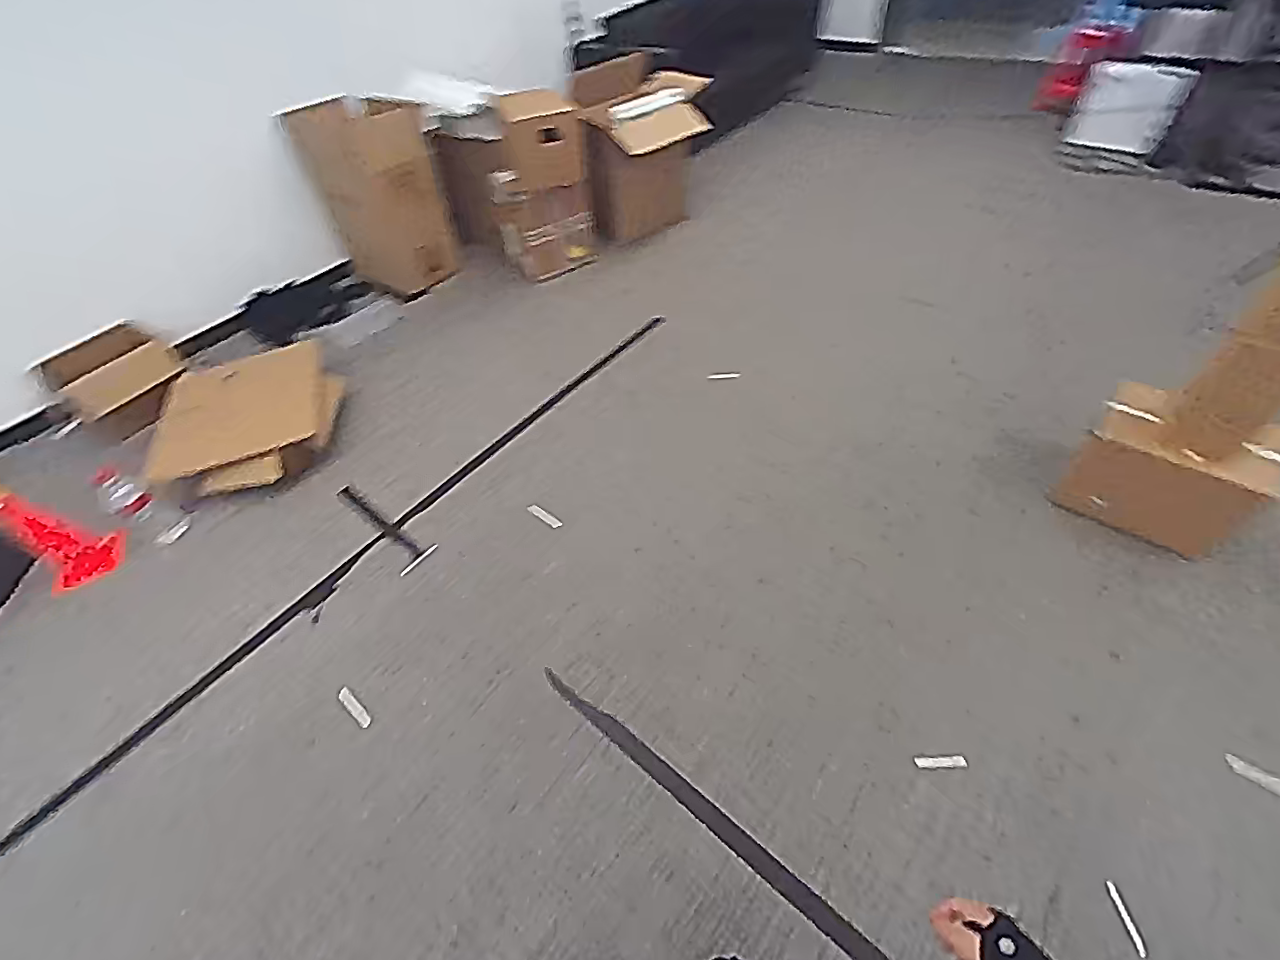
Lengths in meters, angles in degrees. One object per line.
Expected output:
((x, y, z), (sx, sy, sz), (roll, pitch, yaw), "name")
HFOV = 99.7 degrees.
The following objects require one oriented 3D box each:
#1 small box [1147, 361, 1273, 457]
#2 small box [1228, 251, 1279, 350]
((1.539, -0.189, 1.469), (0.179, 0.176, 0.168), (28, 59, 26), "small box")
((1.507, -0.412, 1.231), (0.168, 0.176, 0.179), (28, 59, 27), "small box")
